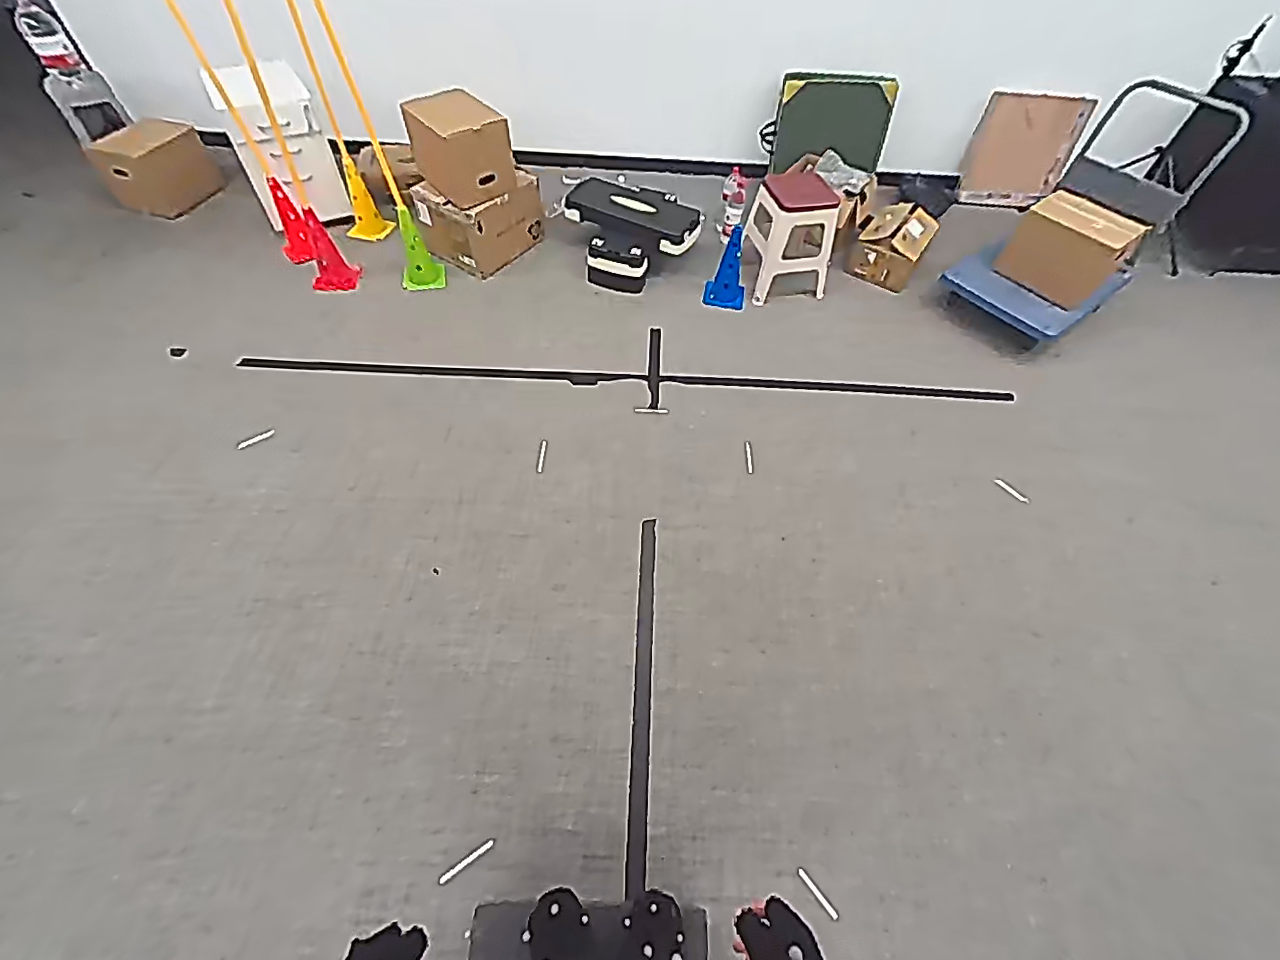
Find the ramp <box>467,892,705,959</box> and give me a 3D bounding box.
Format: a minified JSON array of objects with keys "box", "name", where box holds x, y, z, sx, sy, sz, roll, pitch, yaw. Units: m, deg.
[{"box":[-0.118,1.333,0.937,0.509,0.206,0.991,2,54,-3],"name":"ramp"}]
